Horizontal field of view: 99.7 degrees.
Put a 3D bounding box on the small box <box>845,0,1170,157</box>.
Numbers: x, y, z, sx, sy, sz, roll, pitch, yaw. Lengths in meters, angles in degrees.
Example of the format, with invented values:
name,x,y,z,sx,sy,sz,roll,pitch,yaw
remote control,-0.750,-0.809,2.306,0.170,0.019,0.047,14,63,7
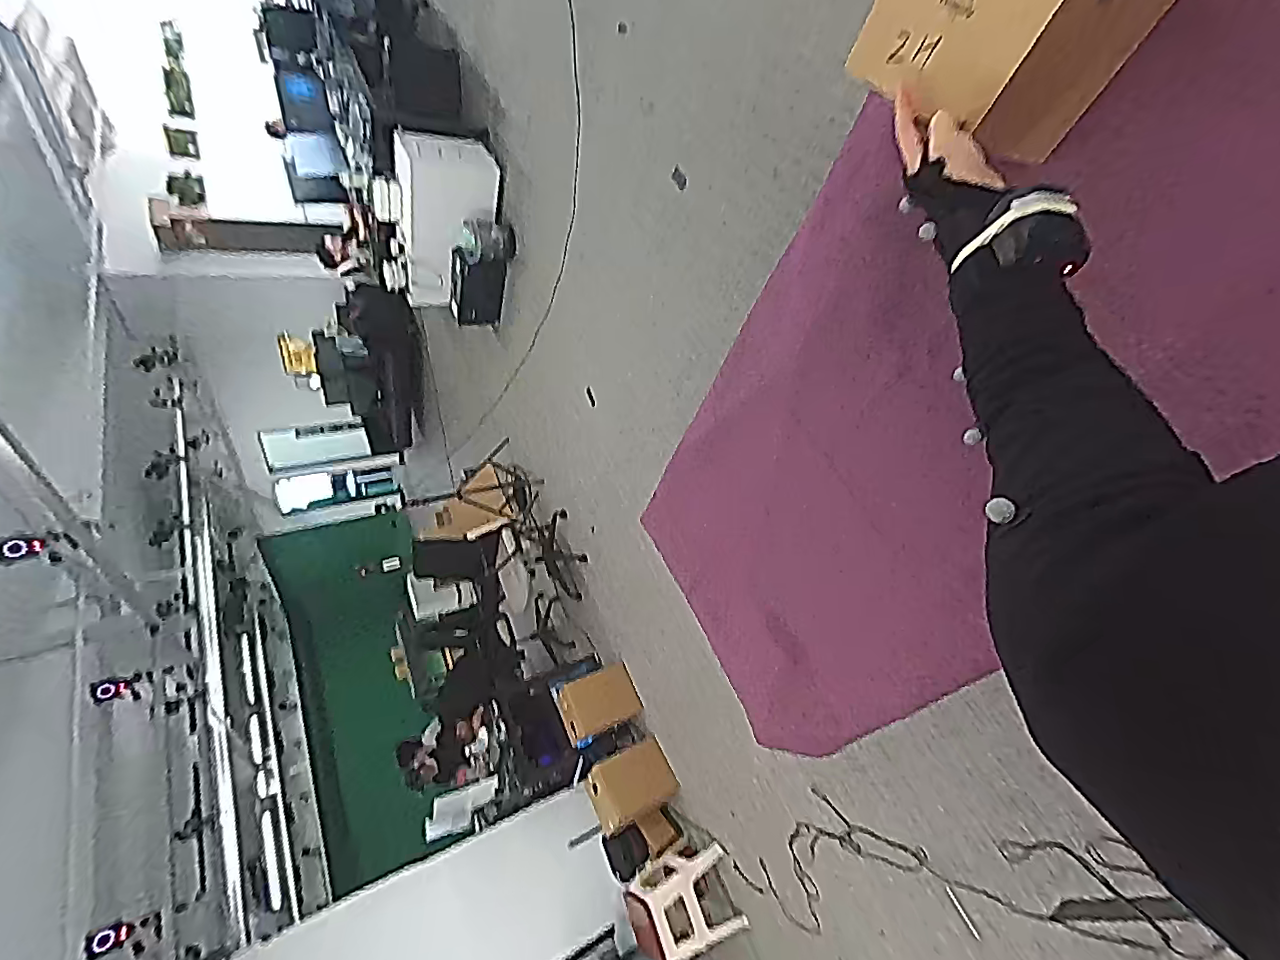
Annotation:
name,x,y,z,sx,sy,sz,roll,pitch,yaw
small box,0.335,-0.424,0.488,0.168,0.176,0.179,58,145,26
